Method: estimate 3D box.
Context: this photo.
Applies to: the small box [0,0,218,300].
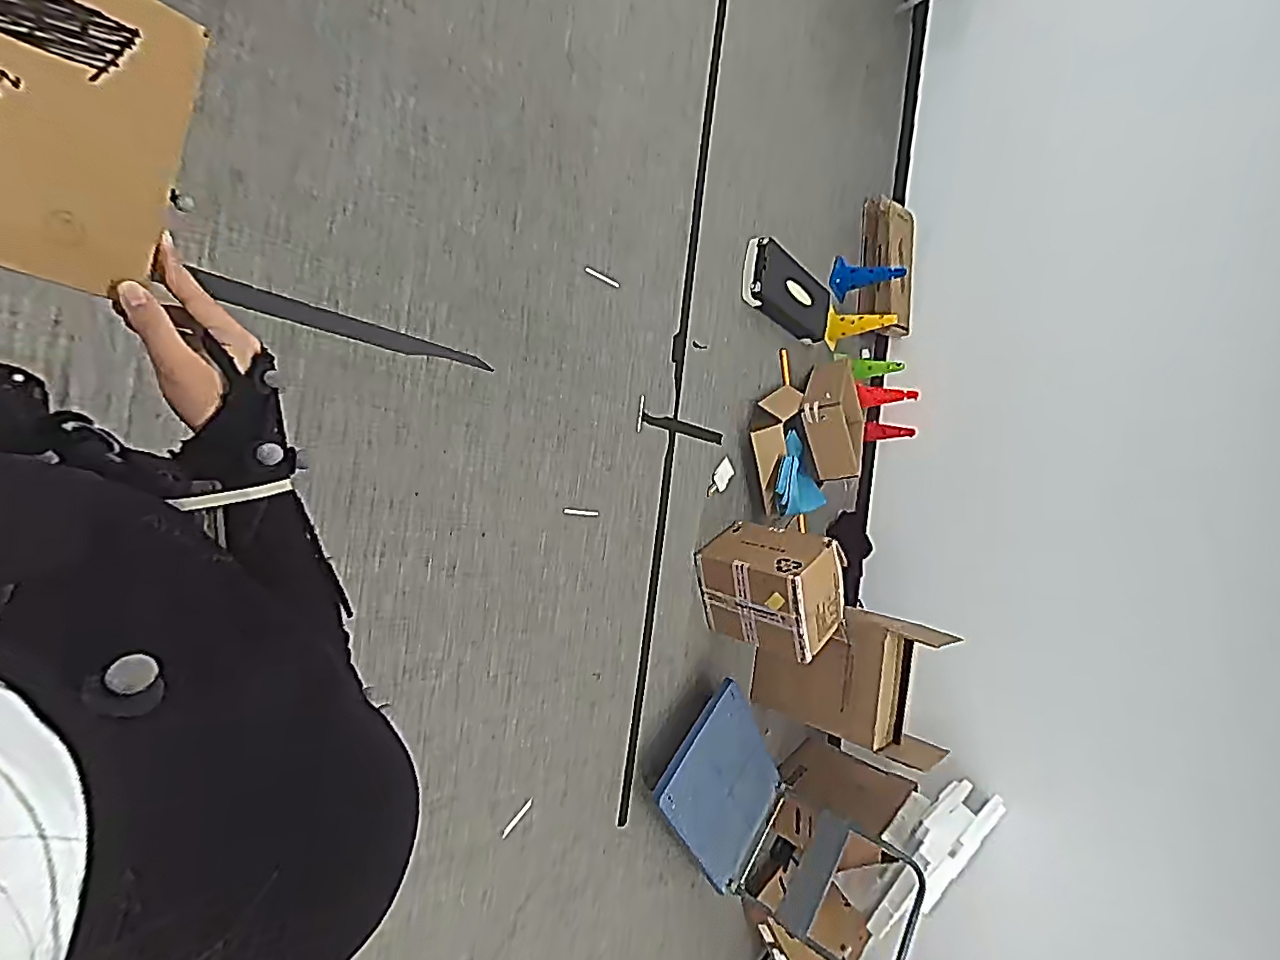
[{"bbox_3d":[-0.393,-0.231,0.334,0.168,0.176,0.179,14,97,-45],"label":"small box"}]
